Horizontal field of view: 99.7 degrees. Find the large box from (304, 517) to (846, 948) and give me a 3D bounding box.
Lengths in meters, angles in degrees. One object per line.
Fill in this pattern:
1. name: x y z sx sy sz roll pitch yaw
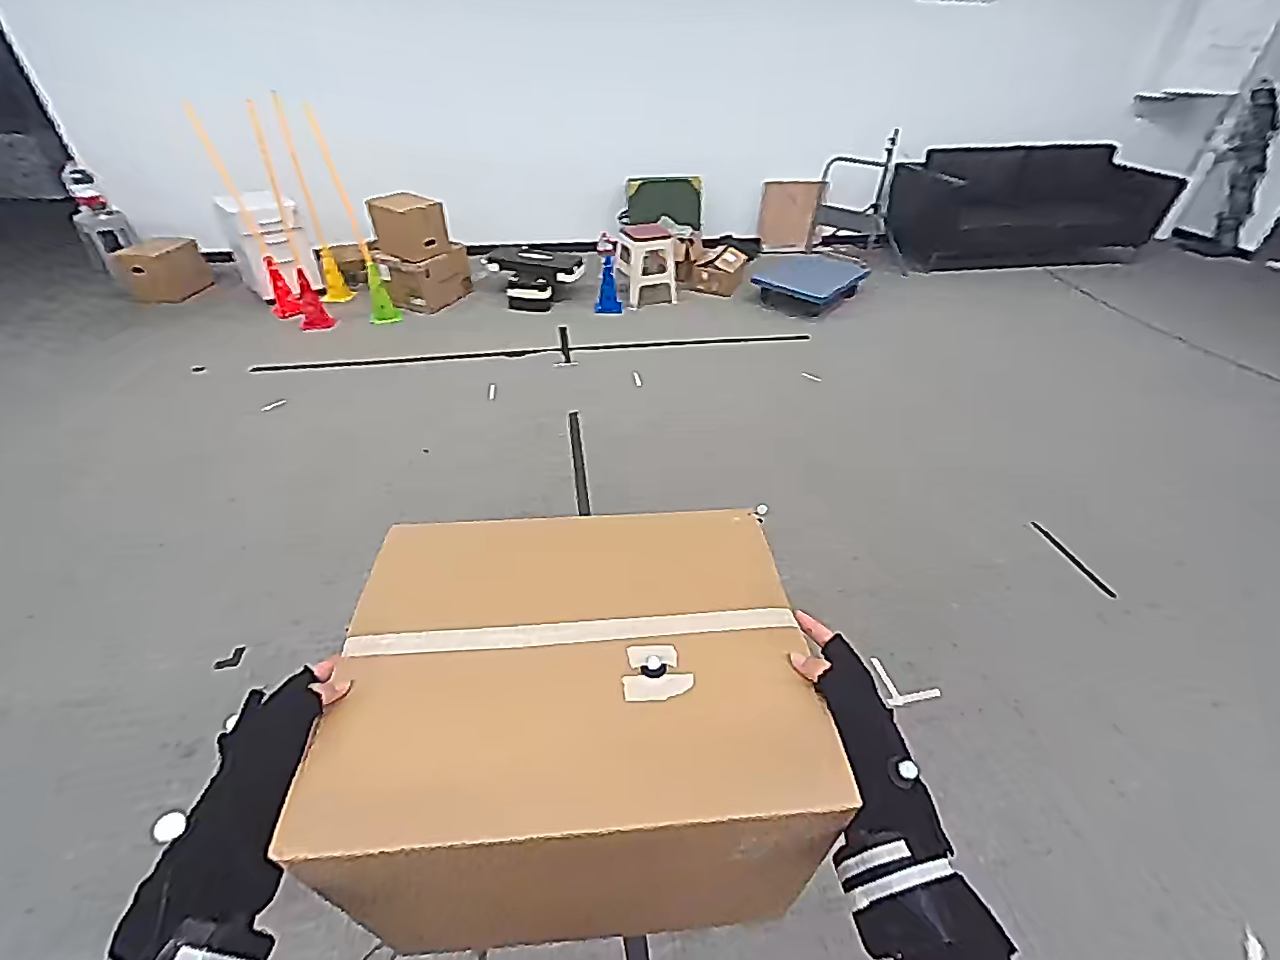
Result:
1. large box: -0.055 0.264 0.597 0.408 0.320 0.320 -2 40 -4
